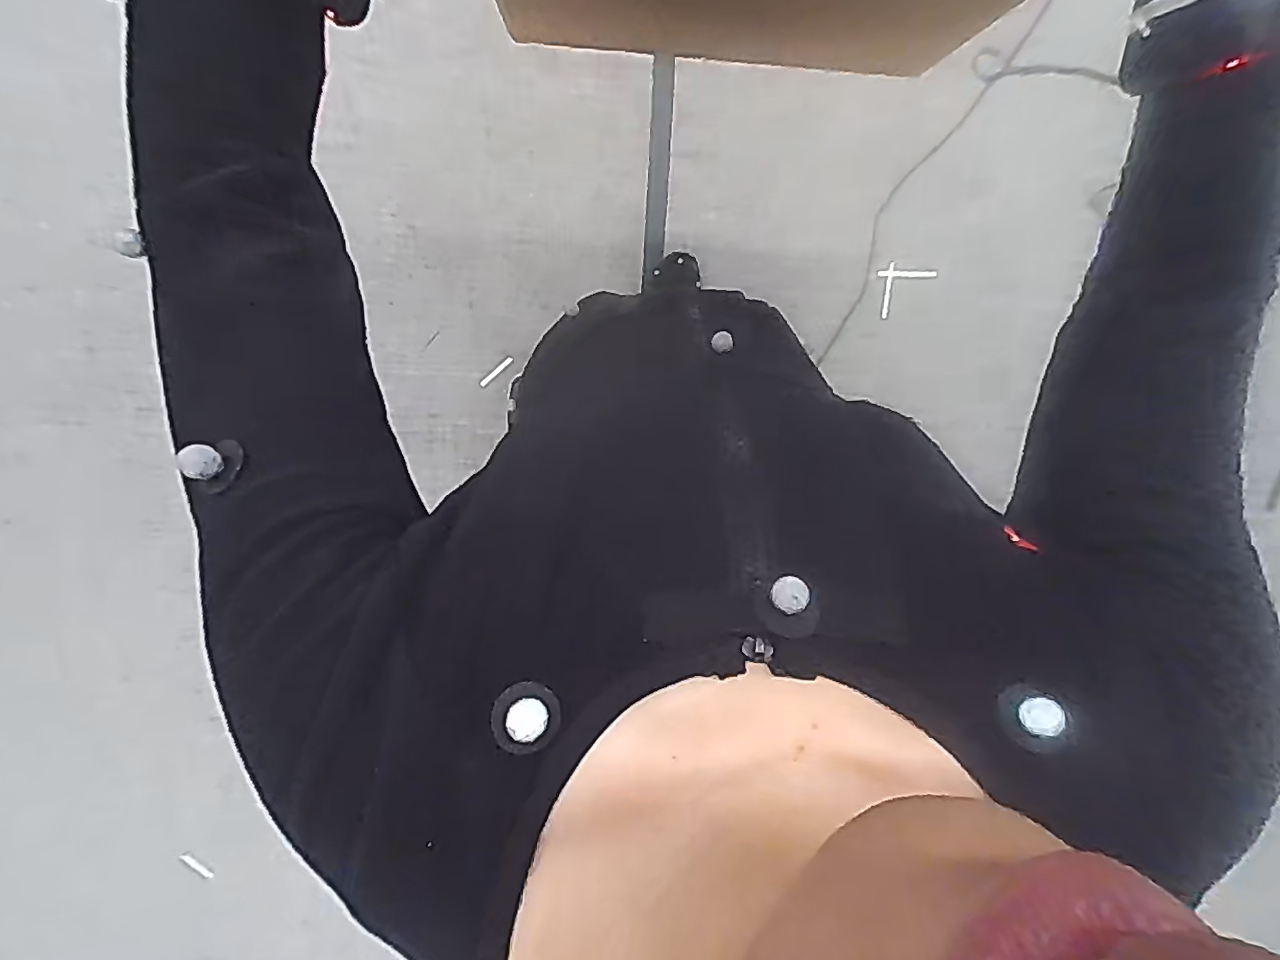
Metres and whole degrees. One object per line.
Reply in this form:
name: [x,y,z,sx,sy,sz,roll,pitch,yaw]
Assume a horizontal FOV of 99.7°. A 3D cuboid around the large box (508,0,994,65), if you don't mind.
large box: [0.093,-0.516,0.344,0.408,0.320,0.320,2,109,-4]
